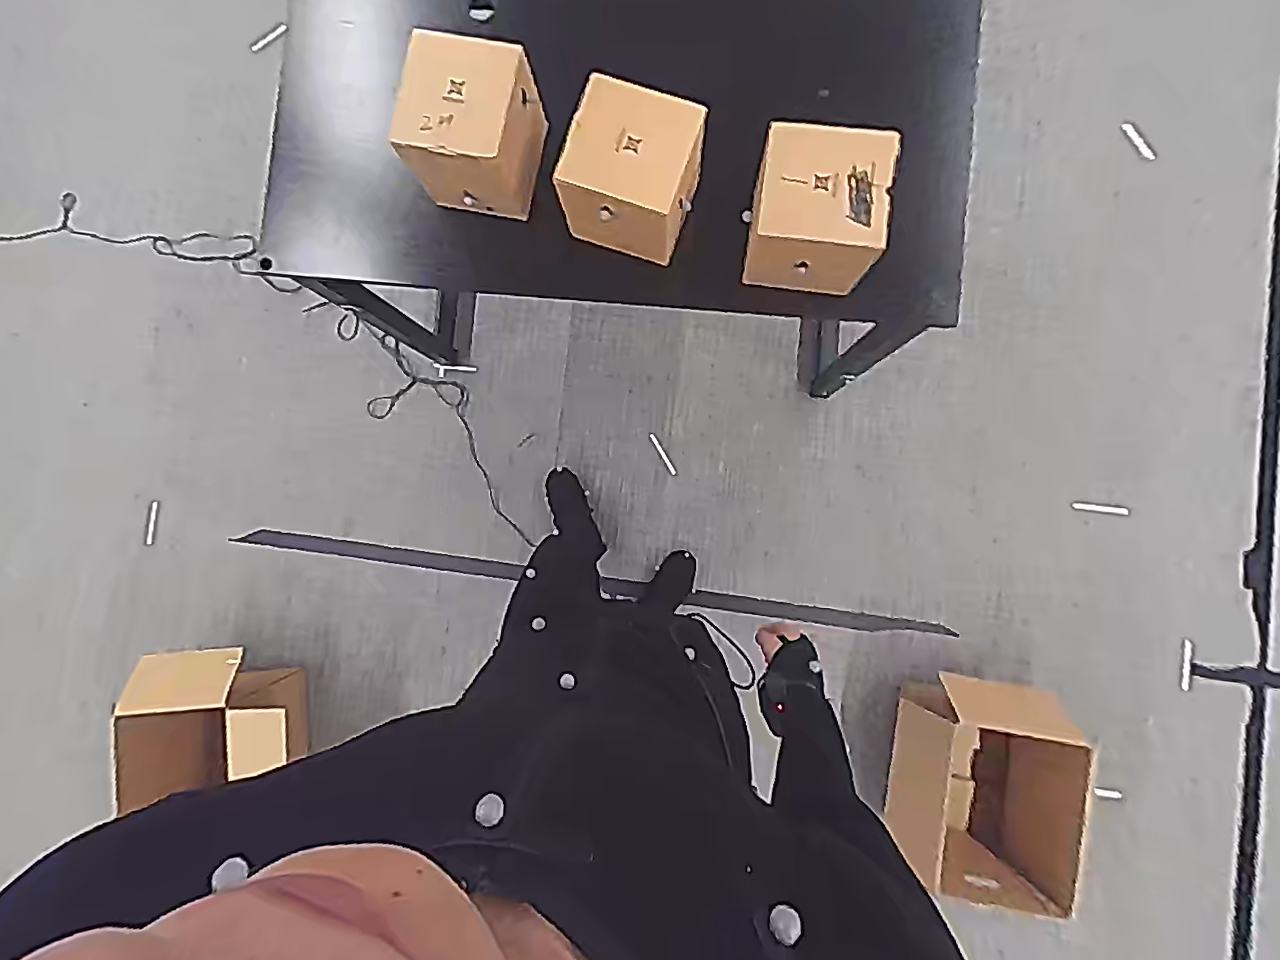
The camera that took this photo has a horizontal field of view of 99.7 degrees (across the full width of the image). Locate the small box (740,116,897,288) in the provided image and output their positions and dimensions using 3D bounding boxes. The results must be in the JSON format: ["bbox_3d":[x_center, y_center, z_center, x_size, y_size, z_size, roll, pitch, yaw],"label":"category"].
[{"bbox_3d":[0.256,-0.405,0.814,0.179,0.176,0.168,8,88,5],"label":"small box"}]

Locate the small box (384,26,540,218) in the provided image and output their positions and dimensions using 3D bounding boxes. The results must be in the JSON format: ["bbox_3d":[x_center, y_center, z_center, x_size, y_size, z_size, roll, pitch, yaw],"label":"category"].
[{"bbox_3d":[-0.266,-0.551,0.851,0.168,0.176,0.179,12,89,4],"label":"small box"}]

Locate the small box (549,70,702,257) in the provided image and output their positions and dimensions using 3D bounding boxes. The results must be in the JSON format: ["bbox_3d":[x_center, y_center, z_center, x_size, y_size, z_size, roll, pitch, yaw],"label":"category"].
[{"bbox_3d":[-0.016,-0.471,0.834,0.179,0.176,0.168,19,88,5],"label":"small box"}]
